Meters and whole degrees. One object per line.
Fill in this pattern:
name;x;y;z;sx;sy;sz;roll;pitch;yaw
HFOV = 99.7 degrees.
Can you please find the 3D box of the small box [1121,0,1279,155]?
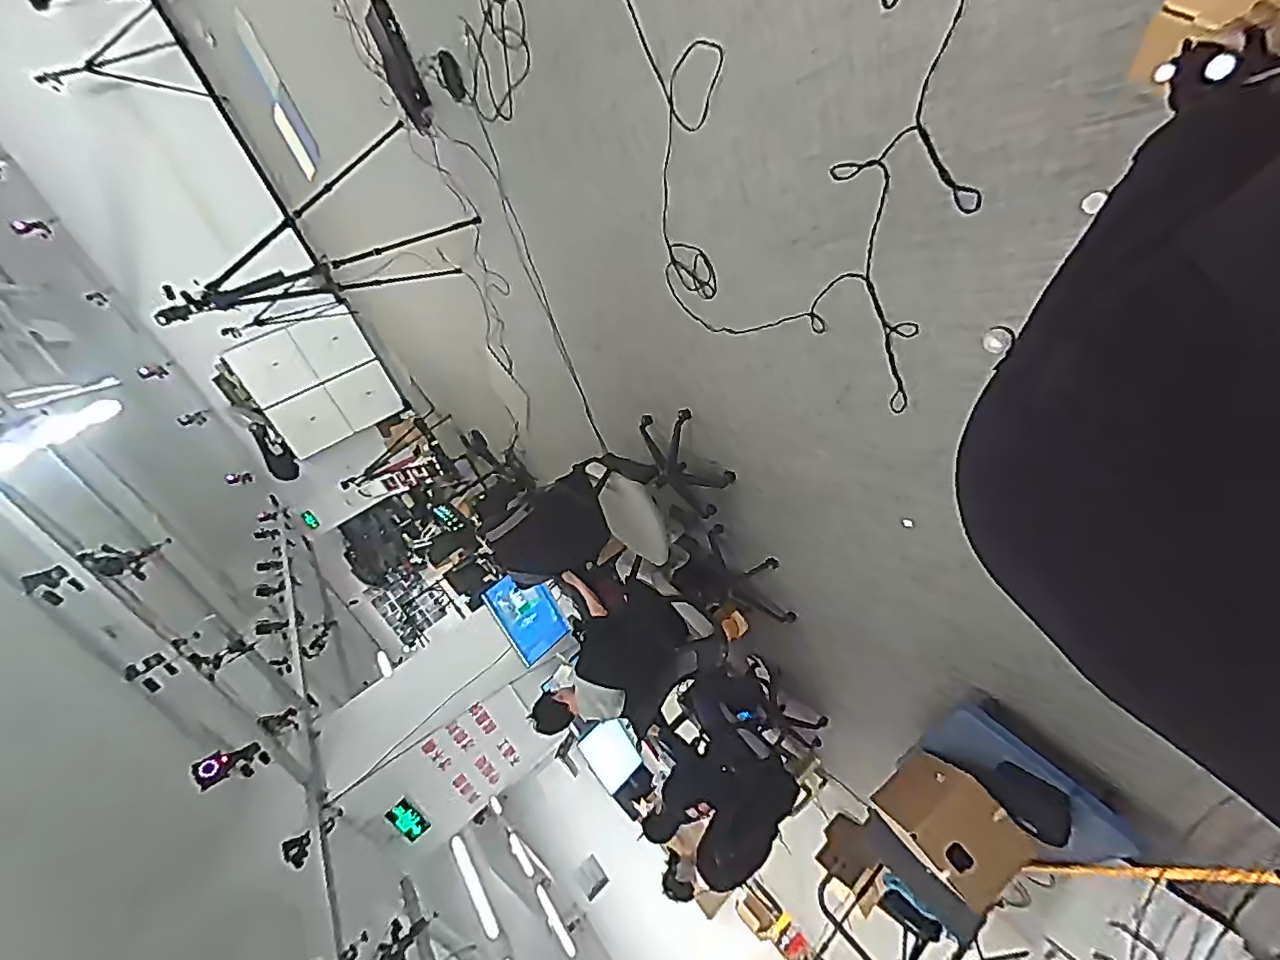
small box;0.596;-0.434;0.482;0.168;0.179;0.176;42;121;19
